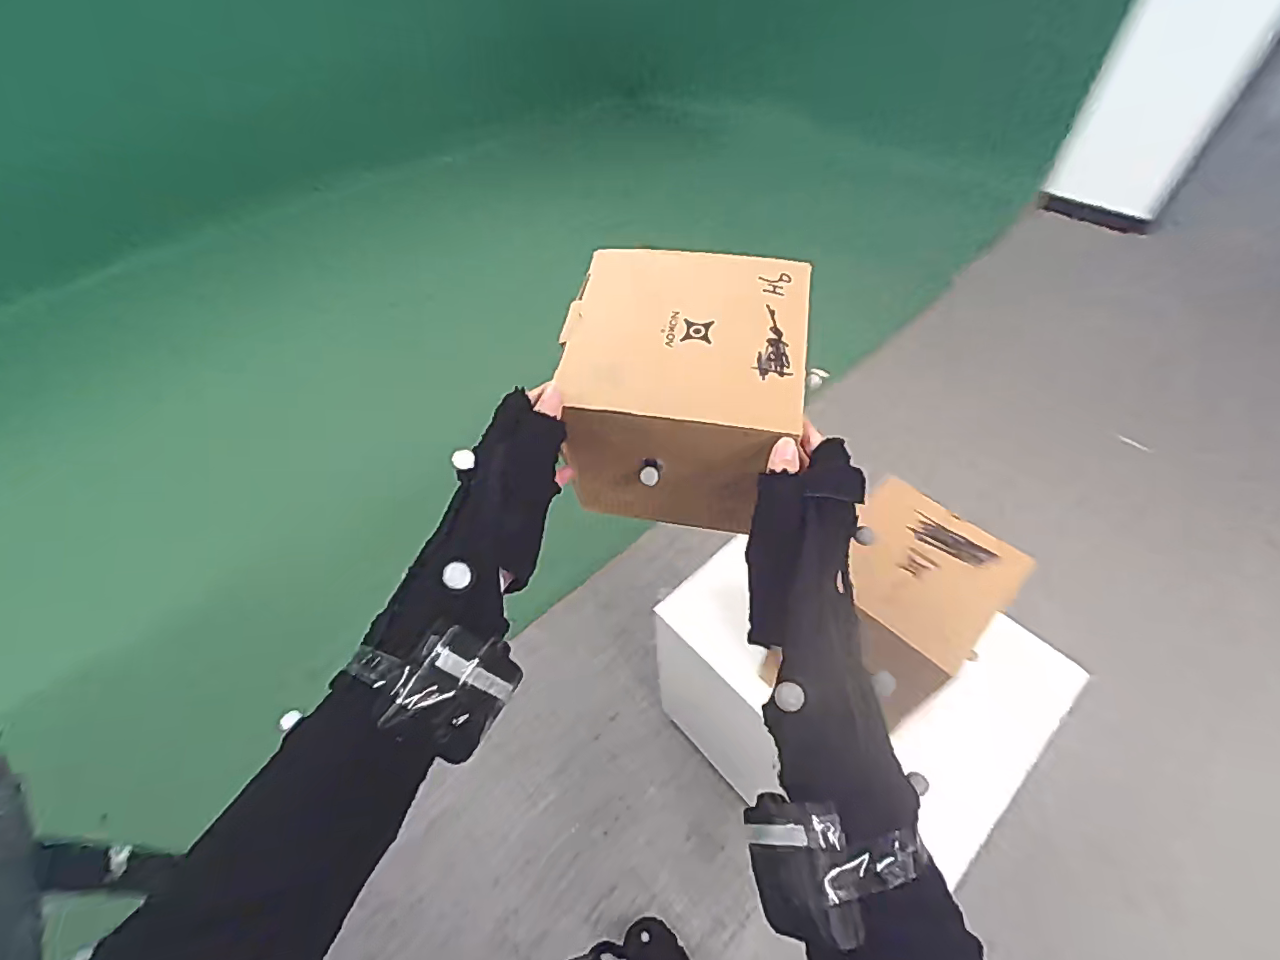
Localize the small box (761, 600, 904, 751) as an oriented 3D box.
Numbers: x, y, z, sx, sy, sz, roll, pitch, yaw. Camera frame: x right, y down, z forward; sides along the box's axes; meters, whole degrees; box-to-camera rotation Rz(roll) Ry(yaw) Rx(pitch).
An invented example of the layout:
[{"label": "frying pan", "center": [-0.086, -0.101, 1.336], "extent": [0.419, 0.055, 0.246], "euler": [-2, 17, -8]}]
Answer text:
[{"label": "small box", "center": [0.287, 0.238, 0.735], "extent": [0.168, 0.176, 0.179], "euler": [-39, 57, -25]}]

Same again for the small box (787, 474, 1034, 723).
[{"label": "small box", "center": [0.287, 0.133, 0.608], "extent": [0.168, 0.176, 0.179], "euler": [36, 59, 27]}]
